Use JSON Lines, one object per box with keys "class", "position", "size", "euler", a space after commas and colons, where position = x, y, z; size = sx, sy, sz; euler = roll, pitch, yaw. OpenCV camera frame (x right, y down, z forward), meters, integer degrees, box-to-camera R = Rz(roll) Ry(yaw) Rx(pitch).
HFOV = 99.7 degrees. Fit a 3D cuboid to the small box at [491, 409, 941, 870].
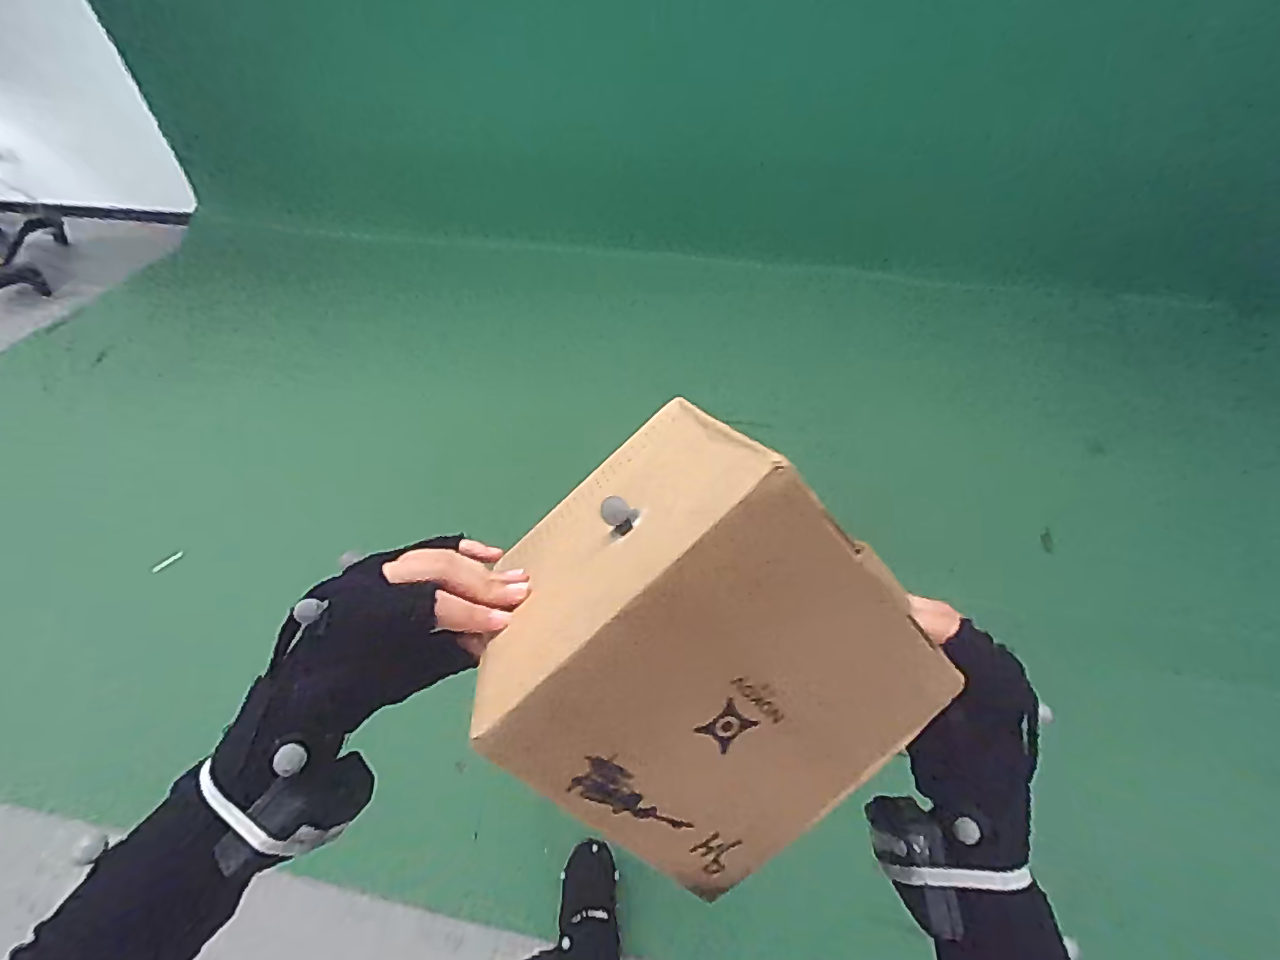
{"class": "small box", "position": [0.029, 0.076, 0.336], "size": [0.179, 0.168, 0.176], "euler": [-43, 19, 3]}
